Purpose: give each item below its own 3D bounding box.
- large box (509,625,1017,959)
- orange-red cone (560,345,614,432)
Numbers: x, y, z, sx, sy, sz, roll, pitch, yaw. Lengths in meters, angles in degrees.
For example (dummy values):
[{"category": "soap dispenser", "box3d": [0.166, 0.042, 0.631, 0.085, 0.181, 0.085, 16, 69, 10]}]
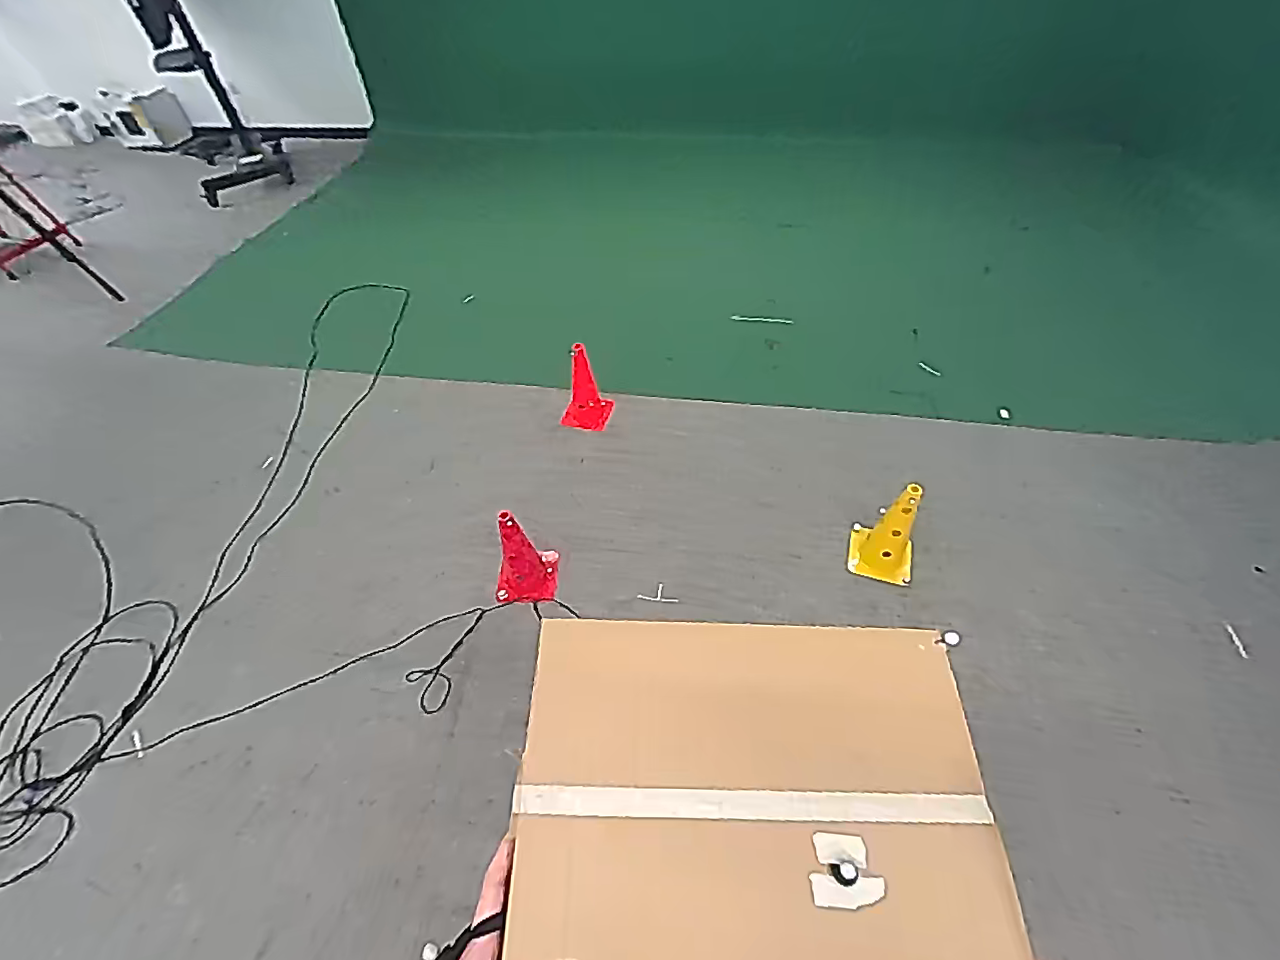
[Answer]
[{"category": "large box", "box3d": [0.092, 0.362, 0.600, 0.408, 0.320, 0.320, 2, 58, -1]}, {"category": "orange-red cone", "box3d": [-0.241, -0.402, 2.252, 0.199, 0.360, 0.198, 11, 50, 14]}]
